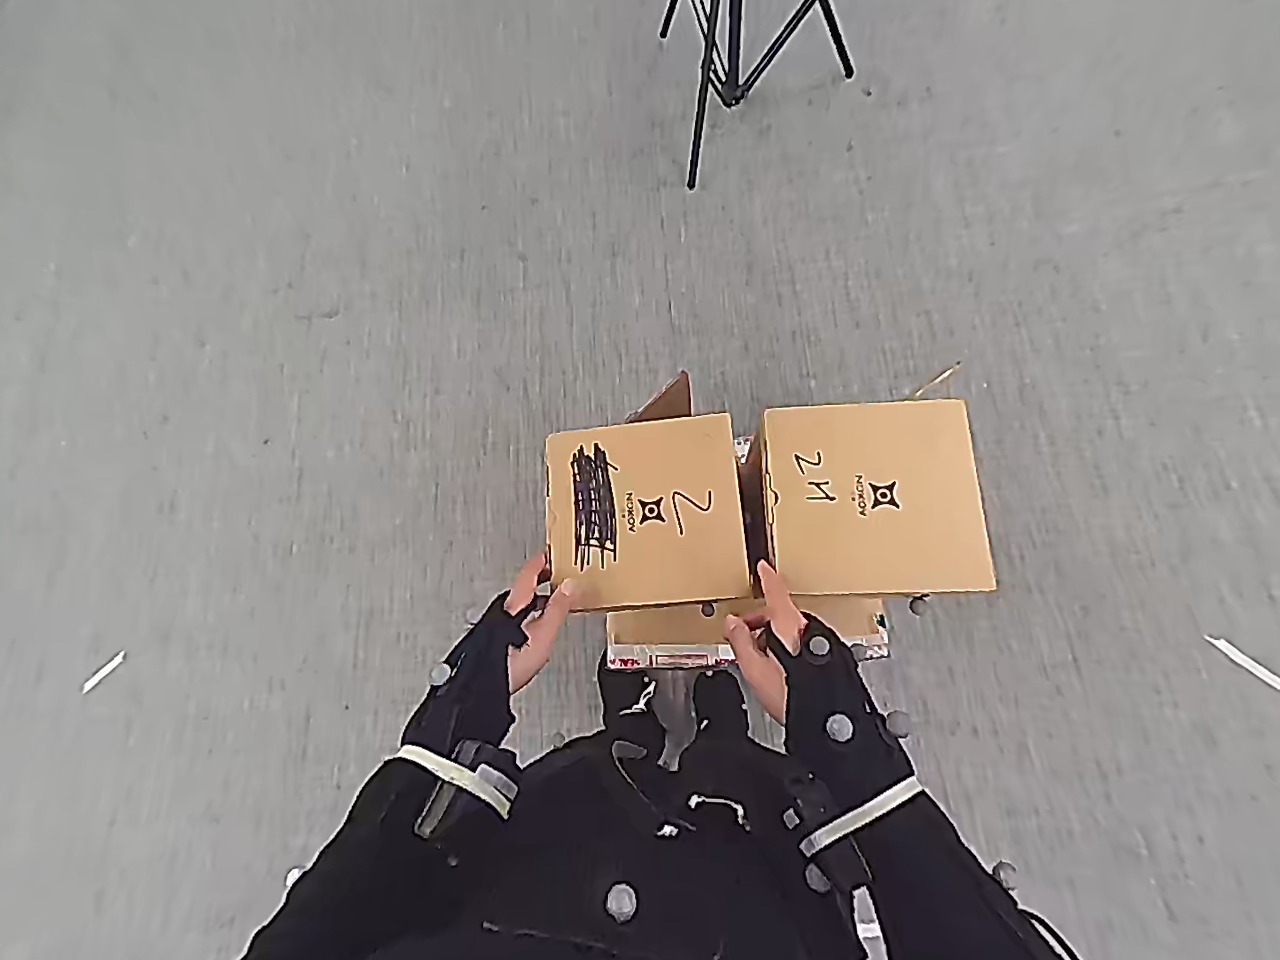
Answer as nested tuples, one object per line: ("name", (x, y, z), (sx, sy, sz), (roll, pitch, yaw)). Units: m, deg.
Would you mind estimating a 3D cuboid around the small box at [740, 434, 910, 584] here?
("small box", (0.222, 0.045, 0.697), (0.179, 0.176, 0.168), (1, 76, 6))
